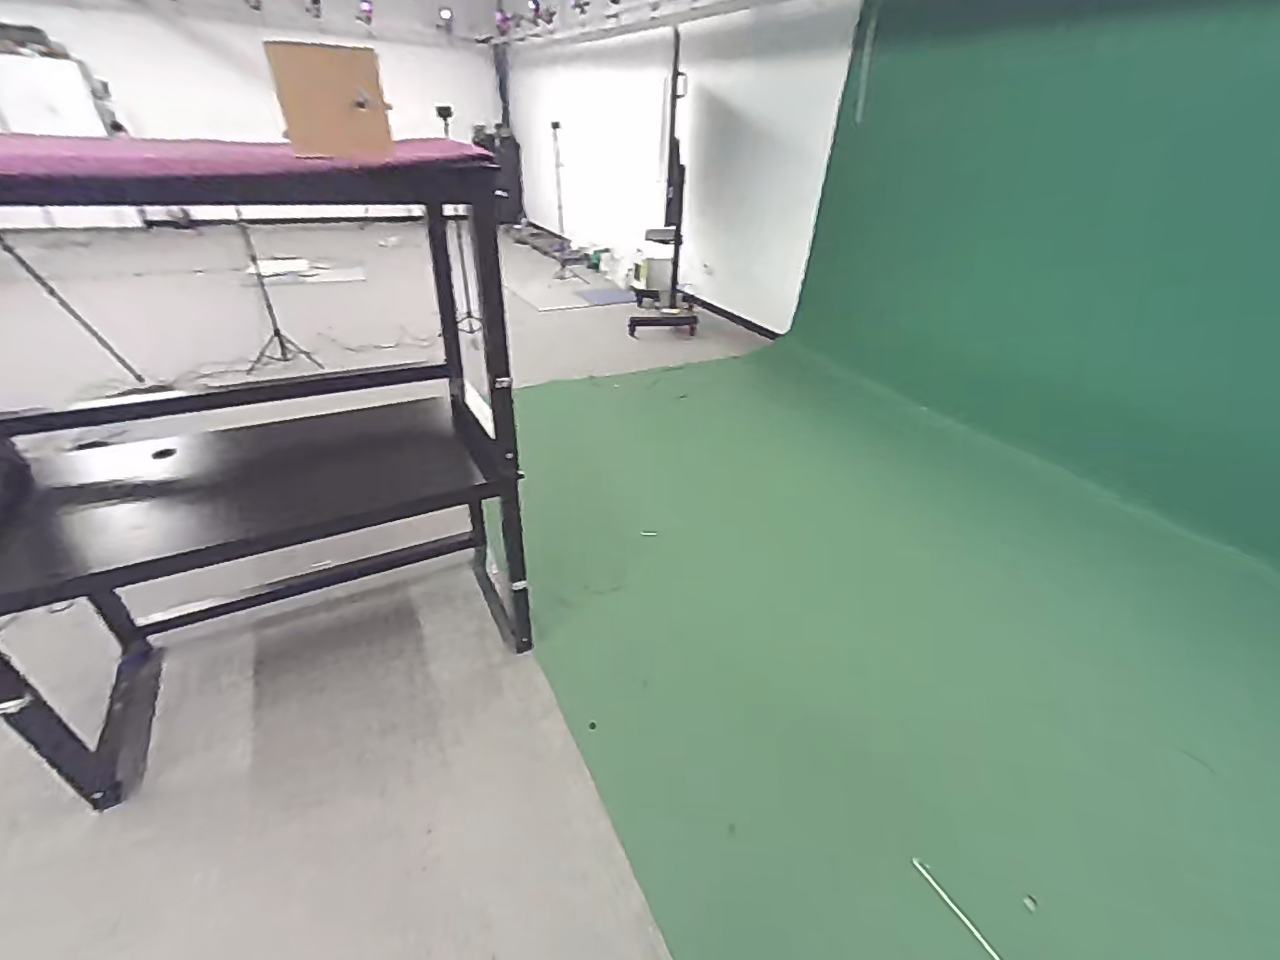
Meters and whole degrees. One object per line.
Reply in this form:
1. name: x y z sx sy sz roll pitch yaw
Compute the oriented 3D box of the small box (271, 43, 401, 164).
1. small box: -0.559 -0.700 1.019 0.179 0.176 0.168 -13 33 -20
